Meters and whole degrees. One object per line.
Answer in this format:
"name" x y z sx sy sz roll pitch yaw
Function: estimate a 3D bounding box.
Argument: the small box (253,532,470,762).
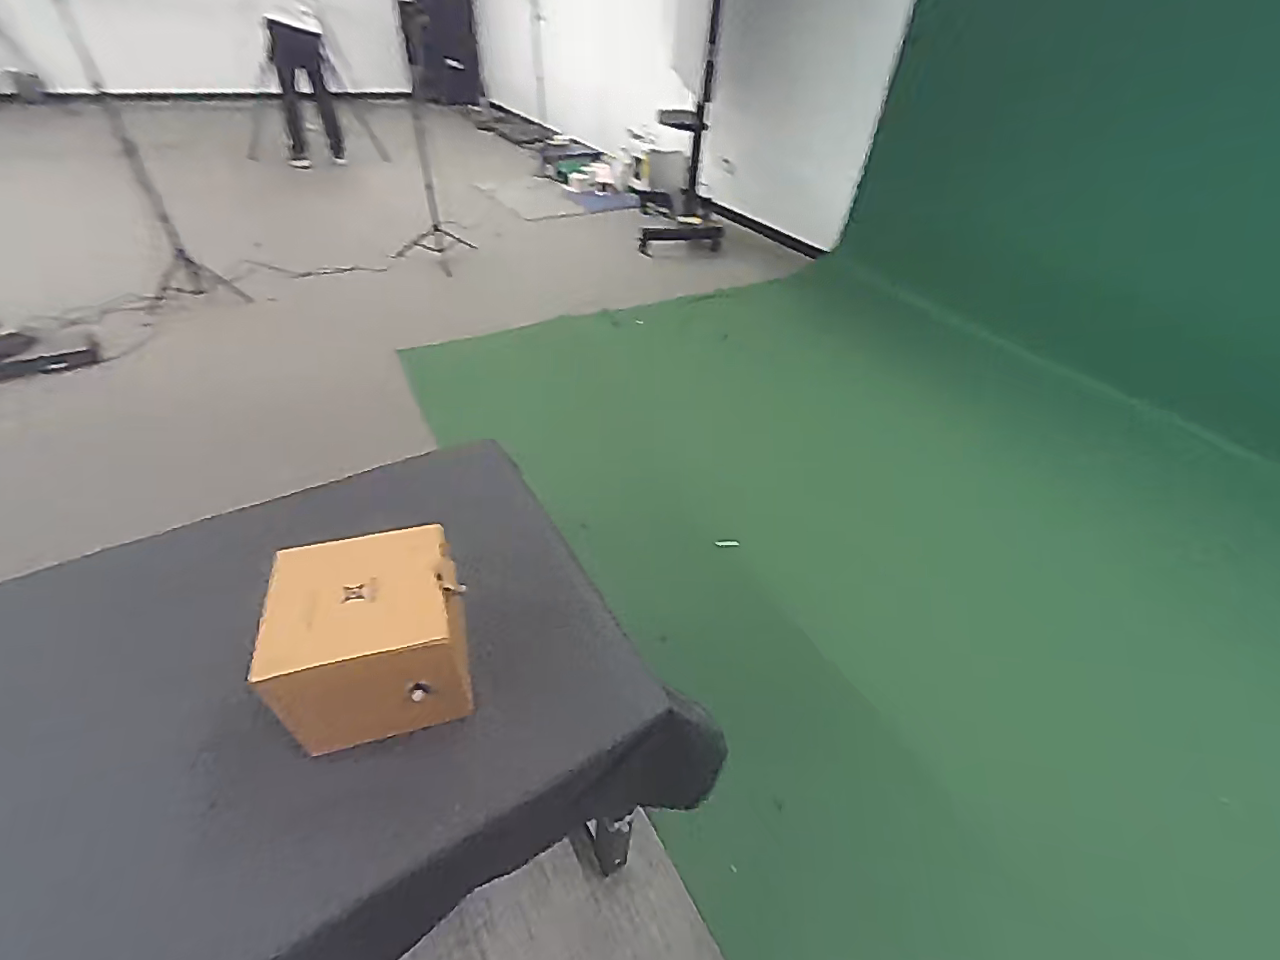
"small box" -0.296 0.188 0.619 0.179 0.176 0.168 -11 42 -15
